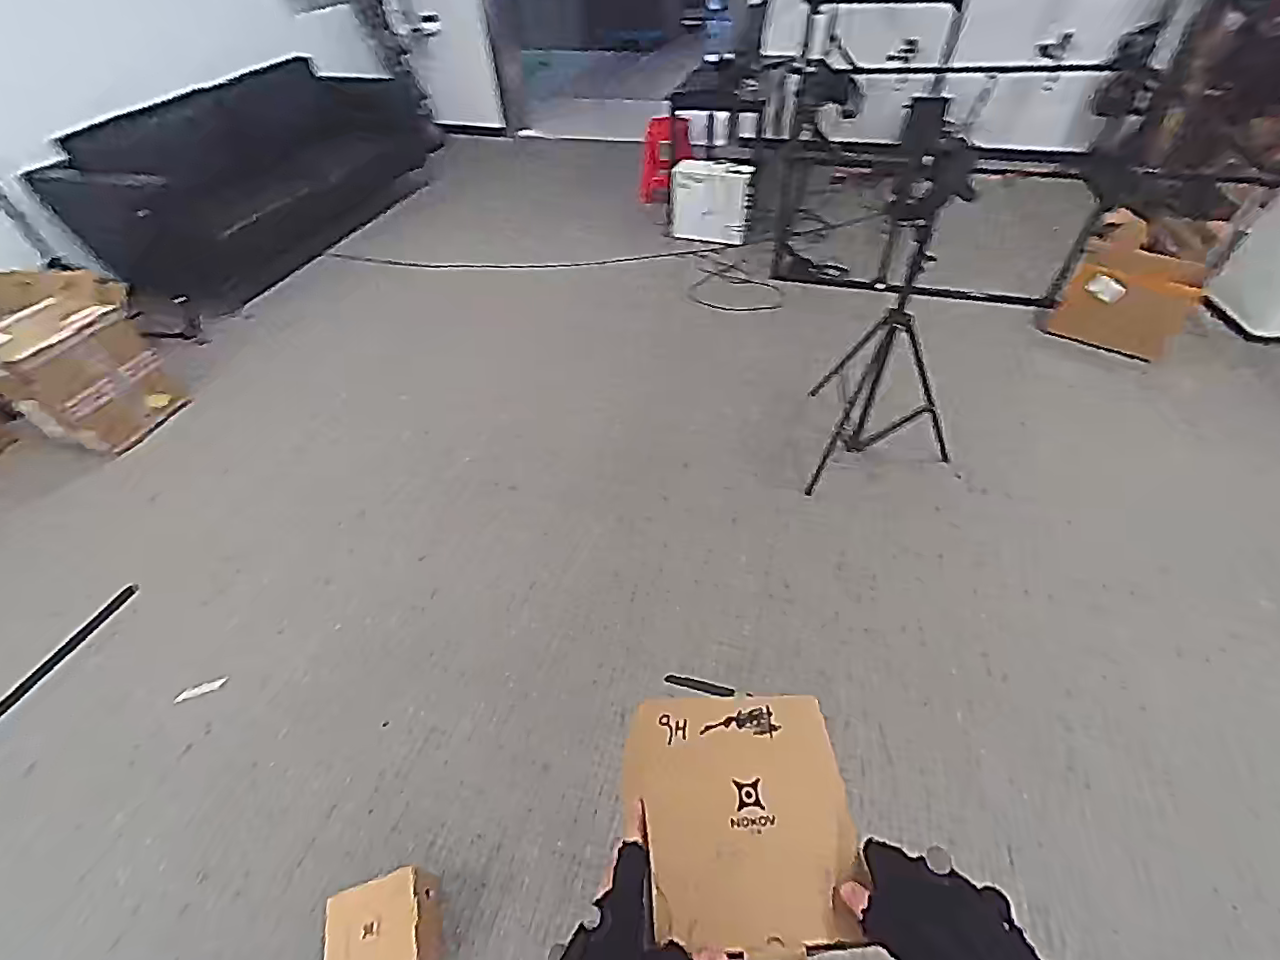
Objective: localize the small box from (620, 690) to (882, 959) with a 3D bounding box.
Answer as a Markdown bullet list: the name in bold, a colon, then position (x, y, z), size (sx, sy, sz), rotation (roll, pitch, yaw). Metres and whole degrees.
- **small box**: position (0.073, 0.305, 0.475), size (0.168, 0.176, 0.179), rotation (1, 47, -8)

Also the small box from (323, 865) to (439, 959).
- **small box**: position (-0.526, 0.933, 1.117), size (0.179, 0.176, 0.168), rotation (-16, 46, -11)
